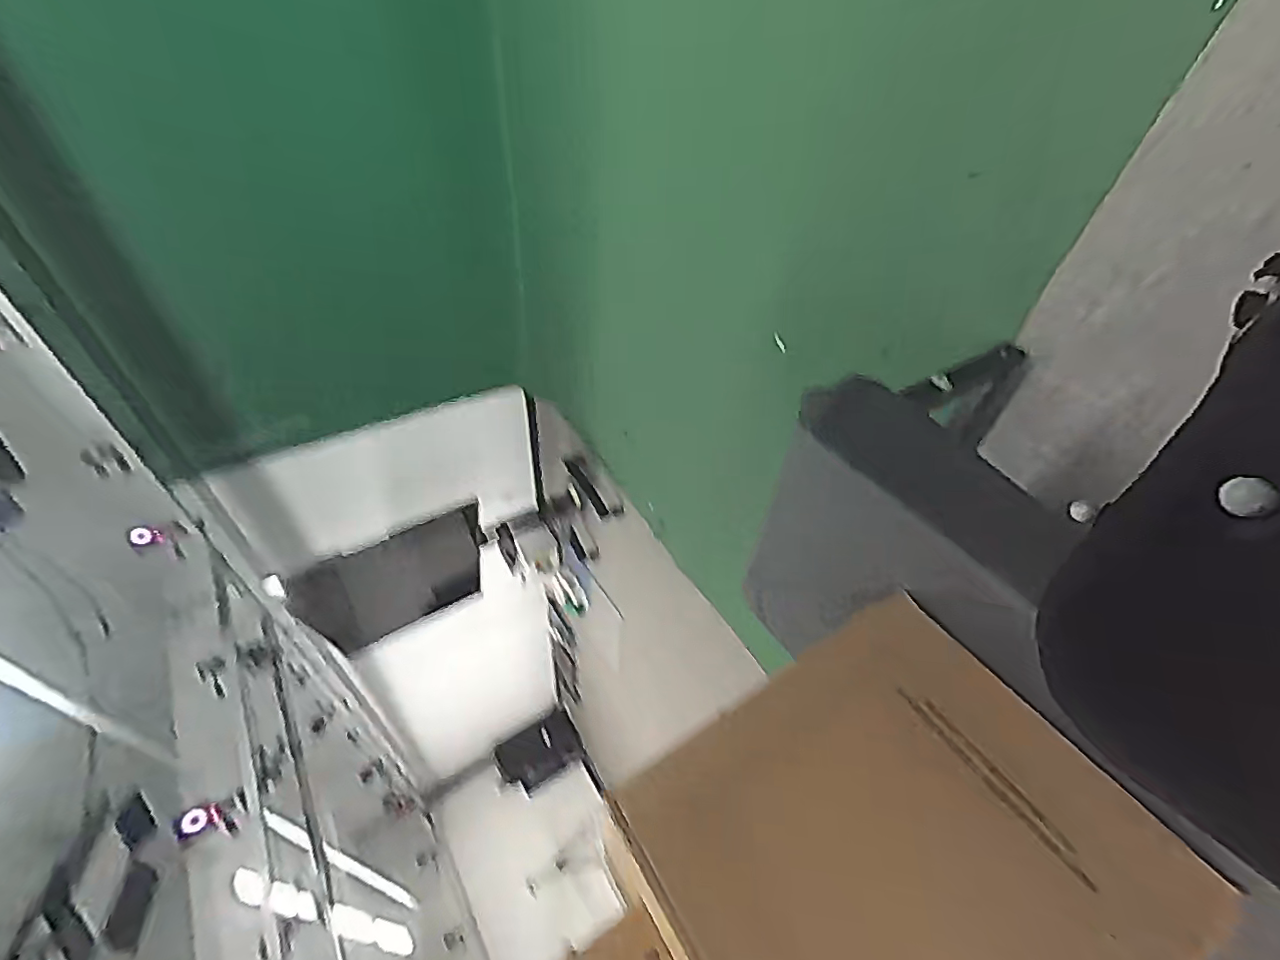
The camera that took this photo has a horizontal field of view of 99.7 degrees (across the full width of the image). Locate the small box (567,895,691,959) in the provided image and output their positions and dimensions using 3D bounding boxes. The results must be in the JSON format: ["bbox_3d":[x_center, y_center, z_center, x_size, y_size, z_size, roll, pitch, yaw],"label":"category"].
[{"bbox_3d":[-0.013,0.654,0.661,0.168,0.176,0.179,48,147,36],"label":"small box"}]
